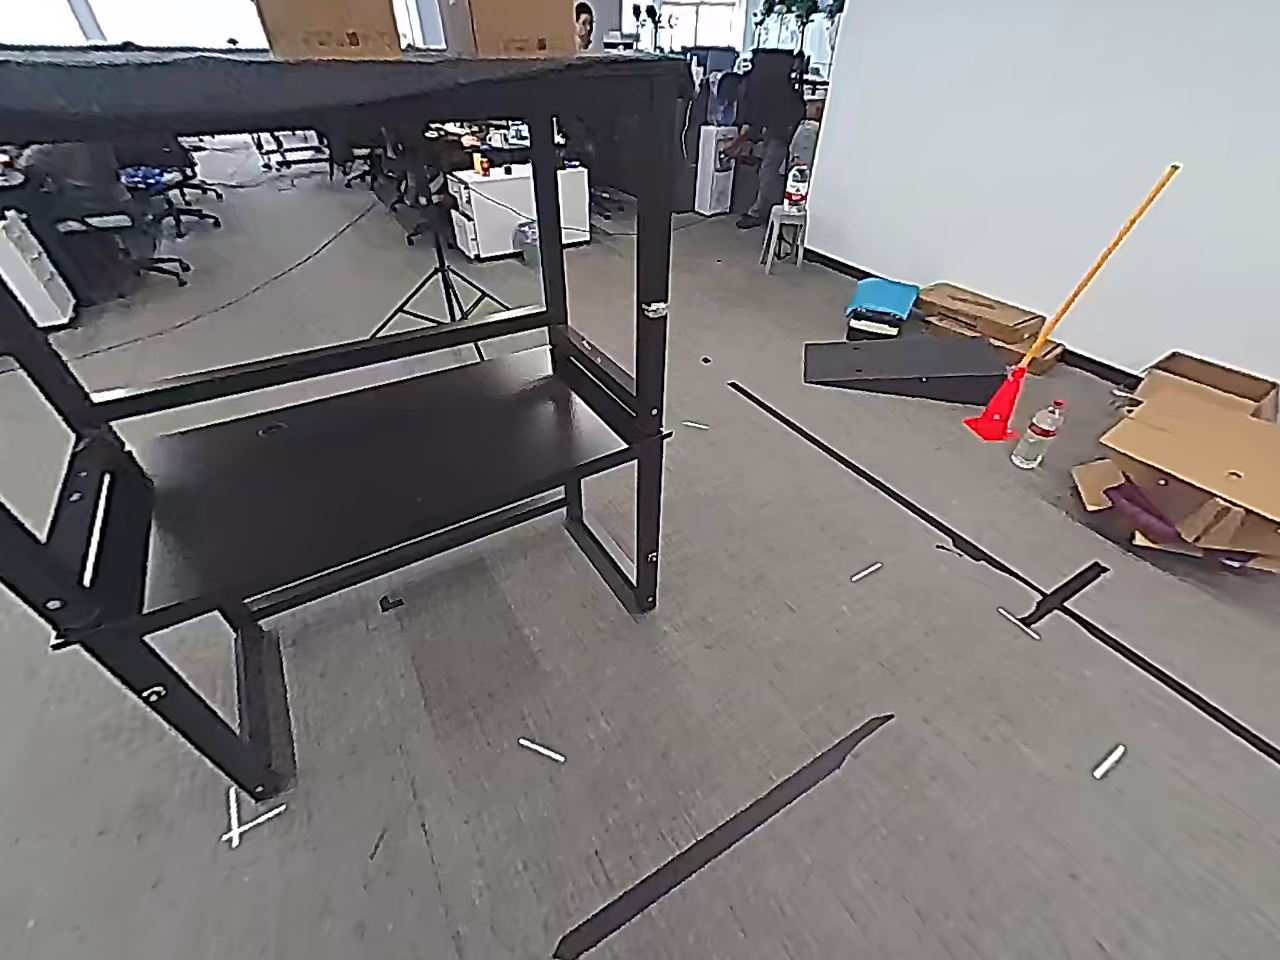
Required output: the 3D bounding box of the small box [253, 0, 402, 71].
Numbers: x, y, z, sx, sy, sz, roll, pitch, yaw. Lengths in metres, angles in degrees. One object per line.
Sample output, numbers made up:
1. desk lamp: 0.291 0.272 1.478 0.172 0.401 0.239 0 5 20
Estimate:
1. small box: -0.445 -0.675 0.746 0.168 0.176 0.179 -19 42 -22
